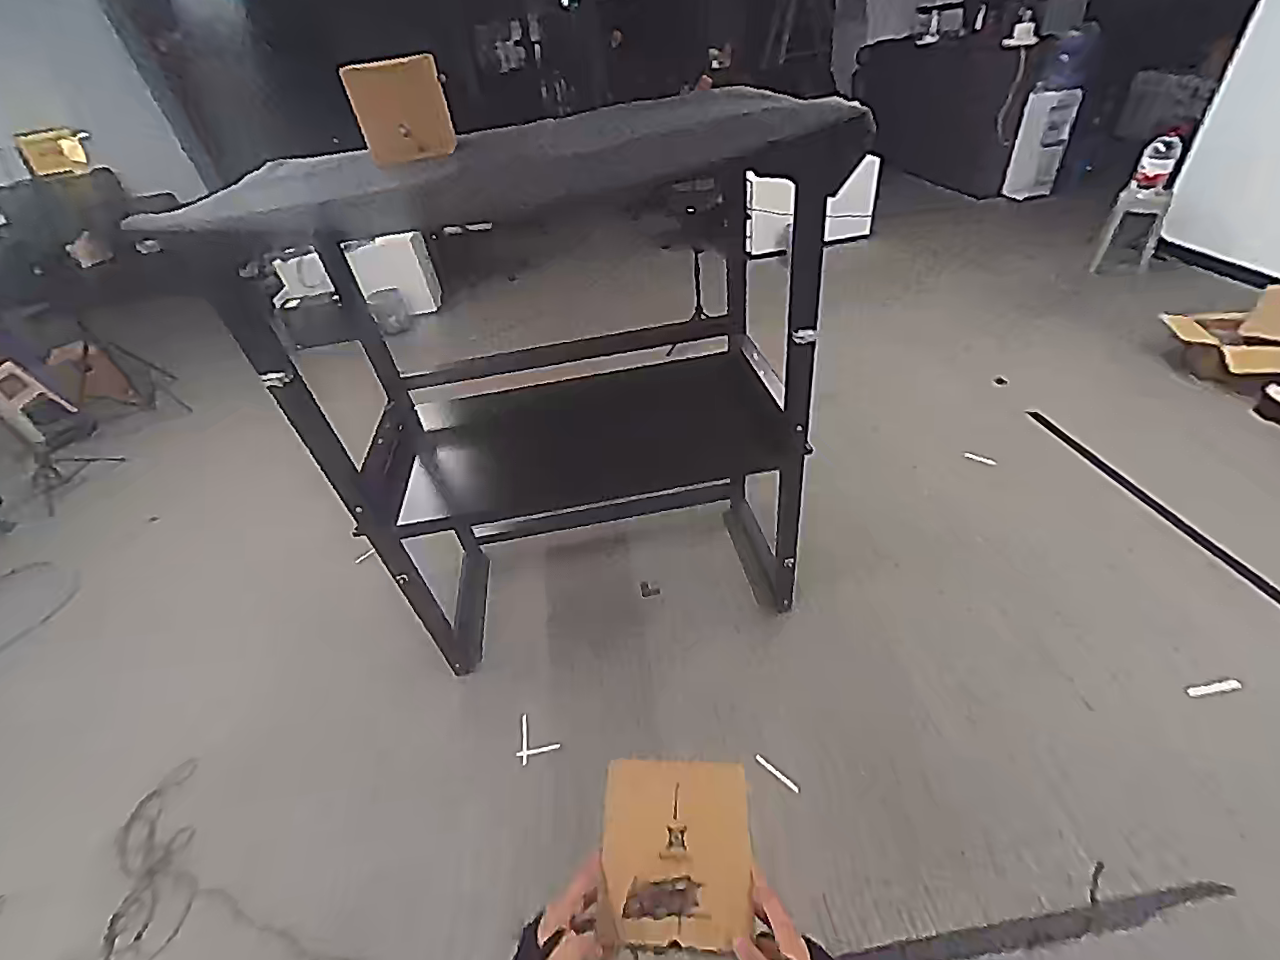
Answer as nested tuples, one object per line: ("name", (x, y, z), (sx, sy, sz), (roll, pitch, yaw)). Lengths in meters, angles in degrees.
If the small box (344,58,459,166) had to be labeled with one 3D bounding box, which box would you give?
("small box", (-0.498, -0.789, 1.161), (0.168, 0.176, 0.179), (-13, 41, -4))
